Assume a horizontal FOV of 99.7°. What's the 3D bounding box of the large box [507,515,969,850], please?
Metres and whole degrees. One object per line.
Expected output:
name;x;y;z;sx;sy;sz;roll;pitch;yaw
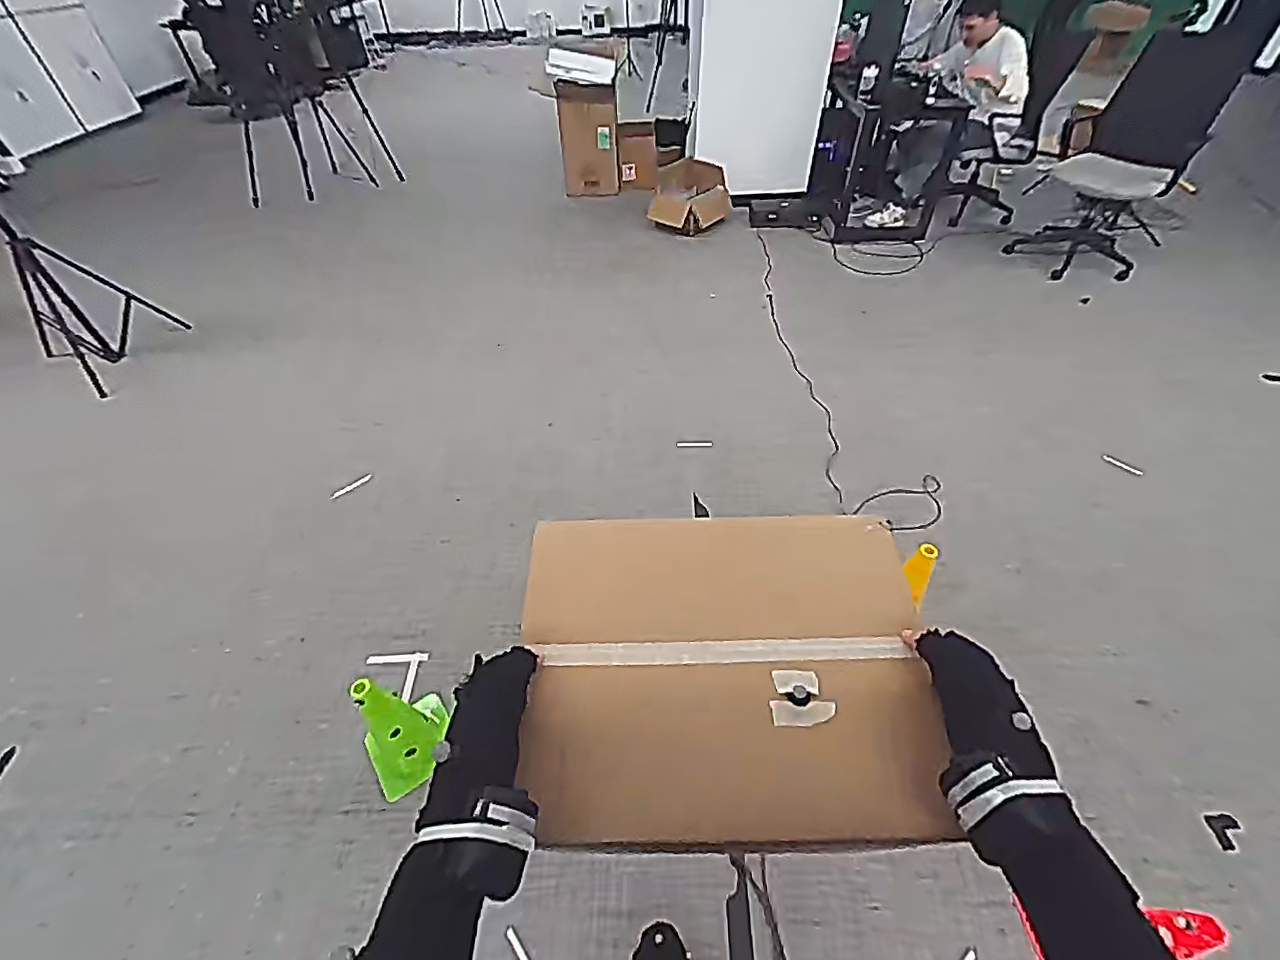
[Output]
large box;0.082;0.257;0.664;0.408;0.320;0.320;-1;54;1

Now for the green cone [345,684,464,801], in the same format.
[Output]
green cone;-0.588;0.564;1.268;0.202;0.368;0.200;-31;52;-23

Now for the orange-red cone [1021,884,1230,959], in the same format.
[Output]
orange-red cone;0.899;0.816;0.967;0.198;0.360;0.199;-3;44;-2
